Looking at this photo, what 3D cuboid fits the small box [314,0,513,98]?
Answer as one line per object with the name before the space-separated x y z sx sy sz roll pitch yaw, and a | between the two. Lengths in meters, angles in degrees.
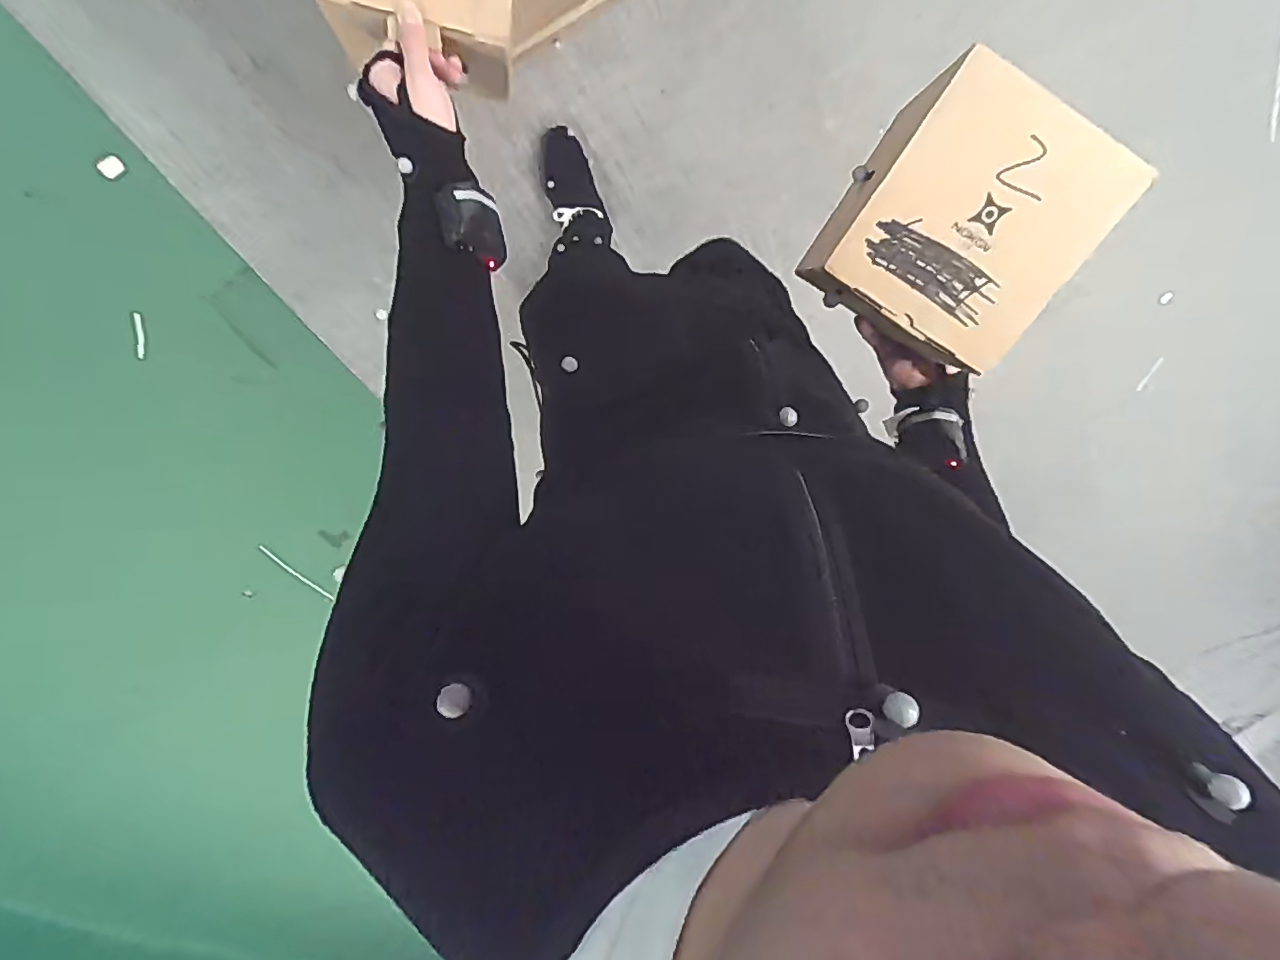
small box | -0.208 -0.510 0.524 0.168 0.176 0.179 4 106 -16
